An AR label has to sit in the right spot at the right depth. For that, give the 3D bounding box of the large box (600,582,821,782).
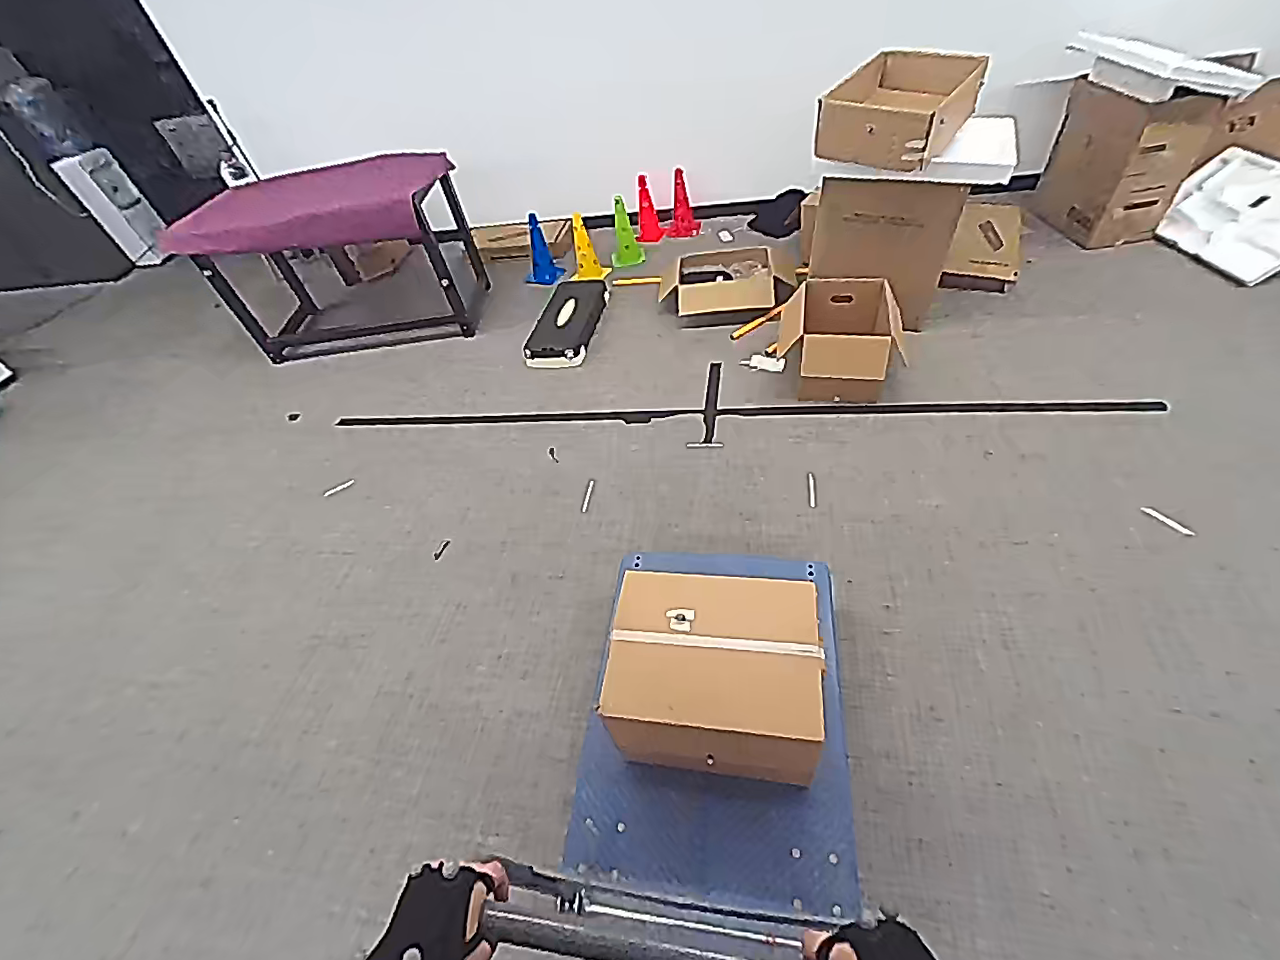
[{"bbox_3d":[0.164,0.438,1.178,0.408,0.320,0.320,0,48,13],"label":"large box"}]
